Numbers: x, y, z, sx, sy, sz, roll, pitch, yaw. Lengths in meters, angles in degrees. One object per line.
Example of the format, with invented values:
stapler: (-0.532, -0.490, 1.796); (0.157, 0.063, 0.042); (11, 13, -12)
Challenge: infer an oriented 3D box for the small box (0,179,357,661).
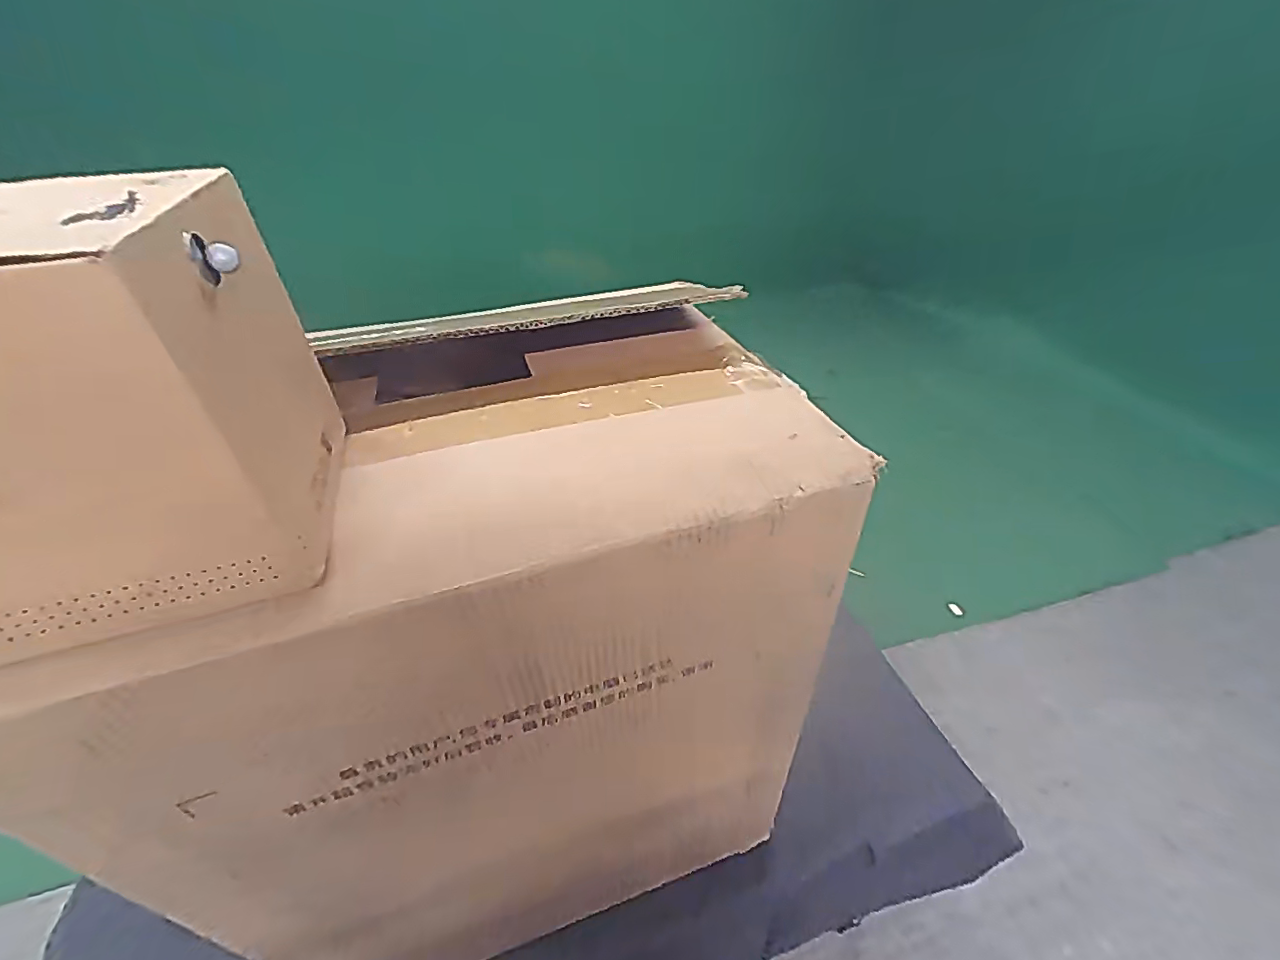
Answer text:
small box: (-0.273, -0.034, 0.274); (0.179, 0.176, 0.168); (-15, 41, -12)
